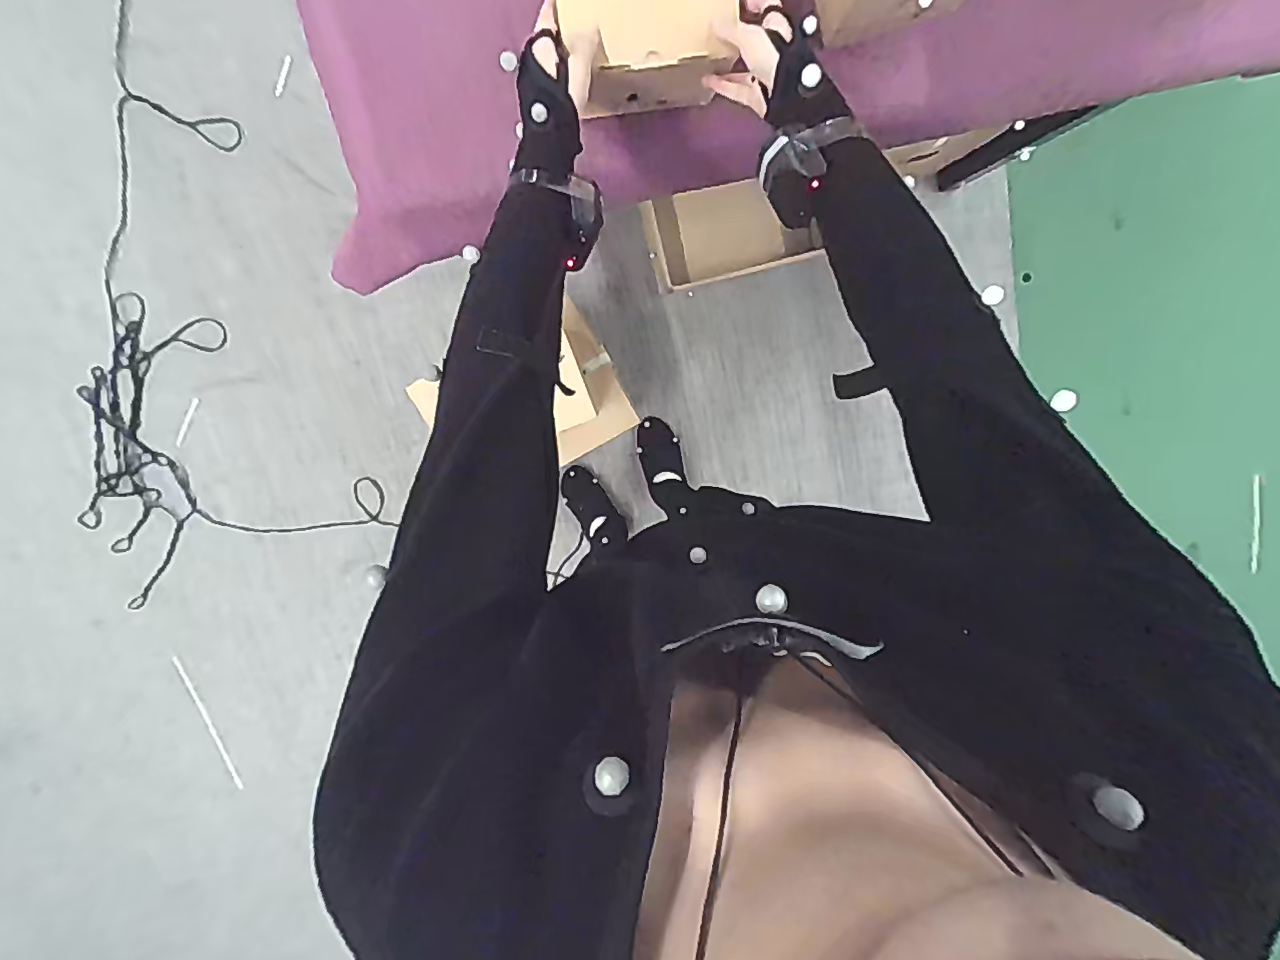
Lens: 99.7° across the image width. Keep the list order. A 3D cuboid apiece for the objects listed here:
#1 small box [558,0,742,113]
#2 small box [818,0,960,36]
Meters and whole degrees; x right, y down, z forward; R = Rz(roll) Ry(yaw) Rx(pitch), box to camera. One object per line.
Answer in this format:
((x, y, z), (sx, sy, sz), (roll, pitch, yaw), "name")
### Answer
((-0.001, -0.497, 0.539), (0.168, 0.176, 0.179), (-8, 113, -1), "small box")
((0.280, -0.602, 0.550), (0.168, 0.176, 0.179), (-16, 101, 2), "small box")
